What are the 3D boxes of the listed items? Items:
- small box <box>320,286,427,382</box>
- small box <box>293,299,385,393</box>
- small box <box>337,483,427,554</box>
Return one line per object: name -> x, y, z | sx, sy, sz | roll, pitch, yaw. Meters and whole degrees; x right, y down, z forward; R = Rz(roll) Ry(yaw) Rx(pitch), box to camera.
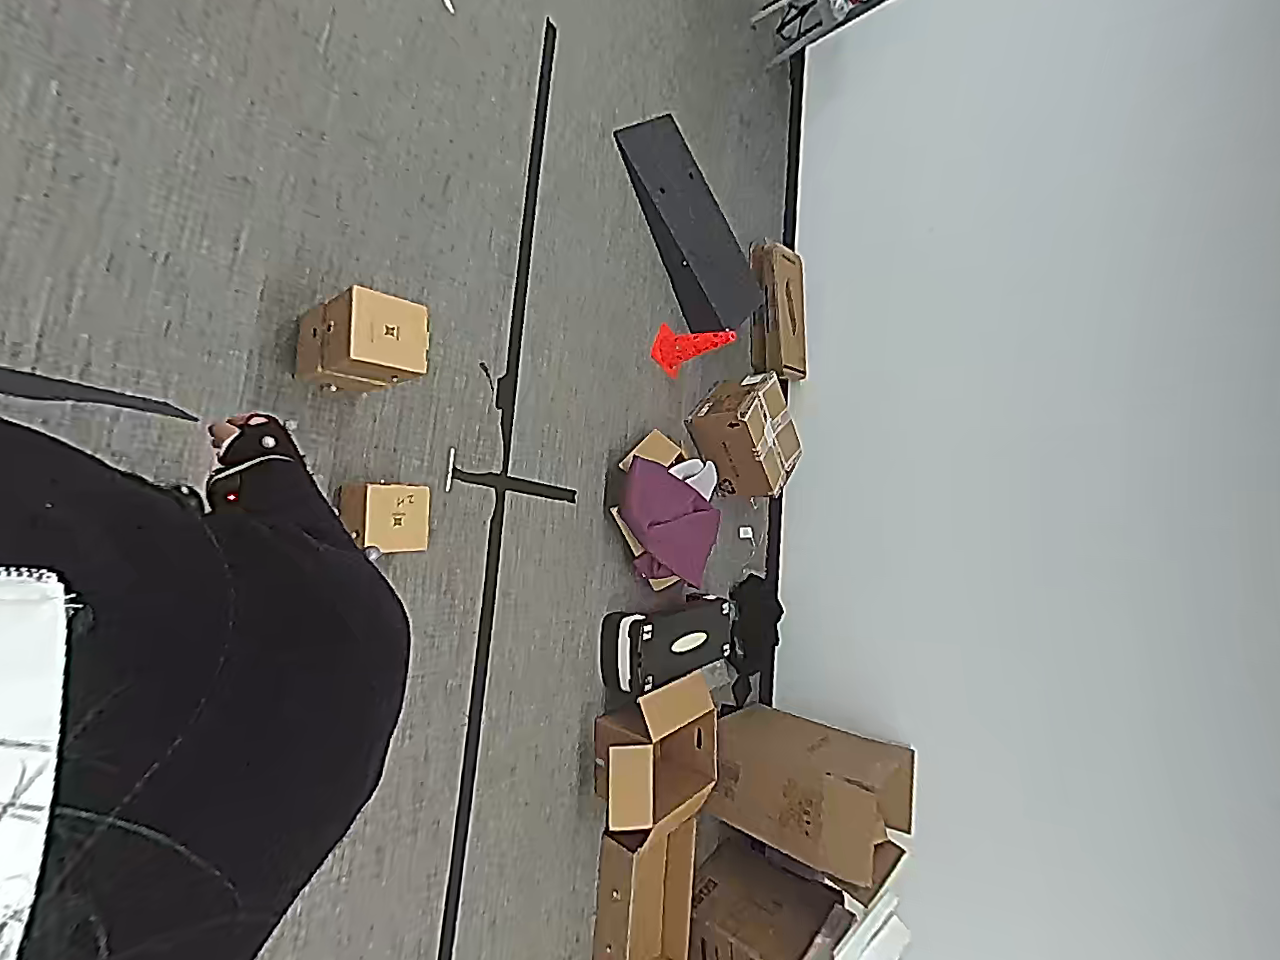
small box -> -0.629, -0.334, 1.278 | 0.179, 0.176, 0.168 | 4, 85, -48
small box -> -0.760, -0.332, 1.376 | 0.168, 0.176, 0.179 | 9, 82, -48
small box -> -0.691, 0.100, 1.445 | 0.168, 0.176, 0.179 | 4, 86, -49
